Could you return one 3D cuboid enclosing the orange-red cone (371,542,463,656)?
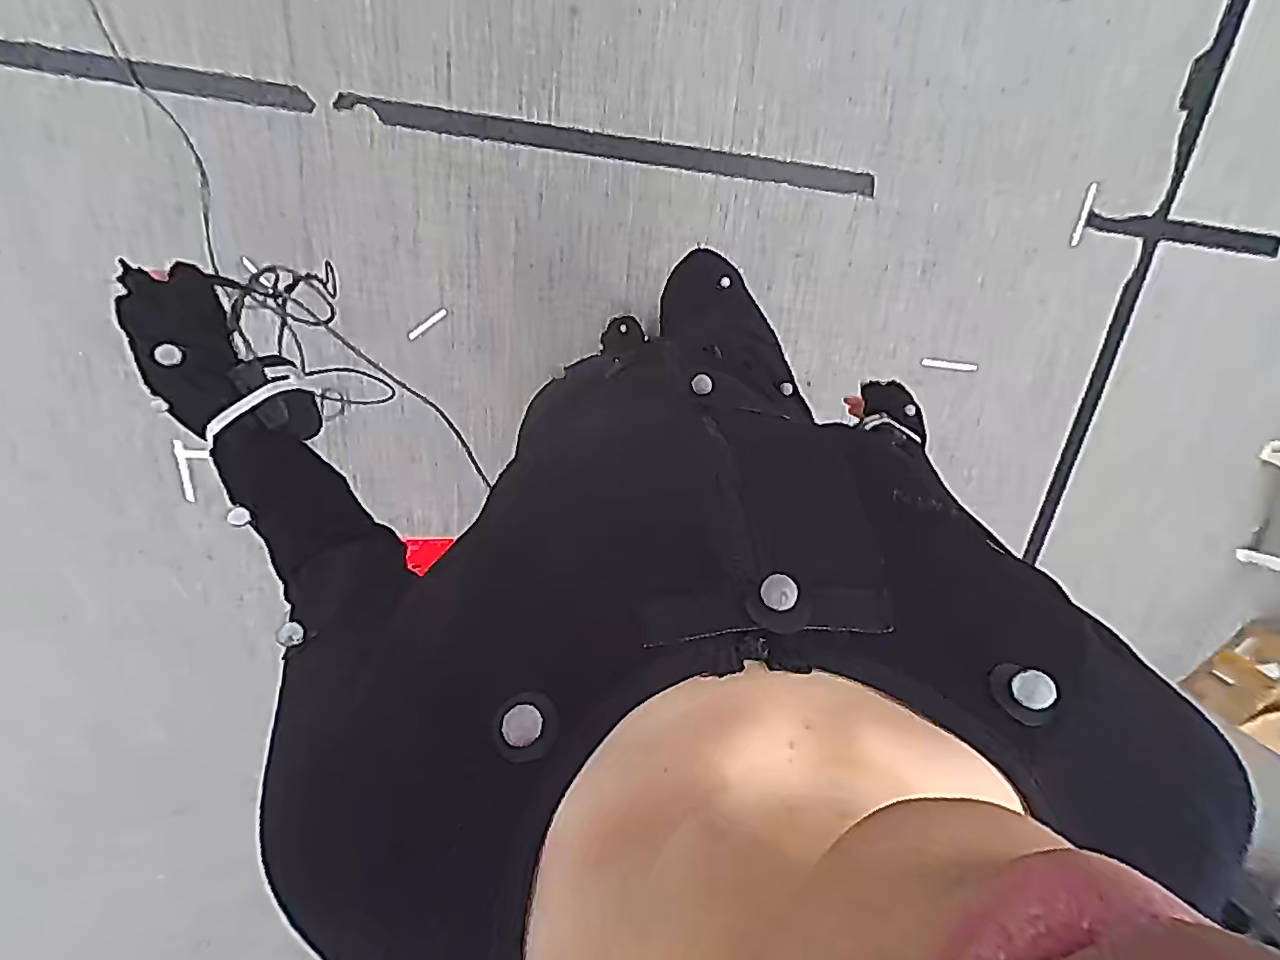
[{"bbox_3d":[-0.608,0.328,1.407,0.199,0.360,0.198,1,110,-4],"label":"orange-red cone"}]
